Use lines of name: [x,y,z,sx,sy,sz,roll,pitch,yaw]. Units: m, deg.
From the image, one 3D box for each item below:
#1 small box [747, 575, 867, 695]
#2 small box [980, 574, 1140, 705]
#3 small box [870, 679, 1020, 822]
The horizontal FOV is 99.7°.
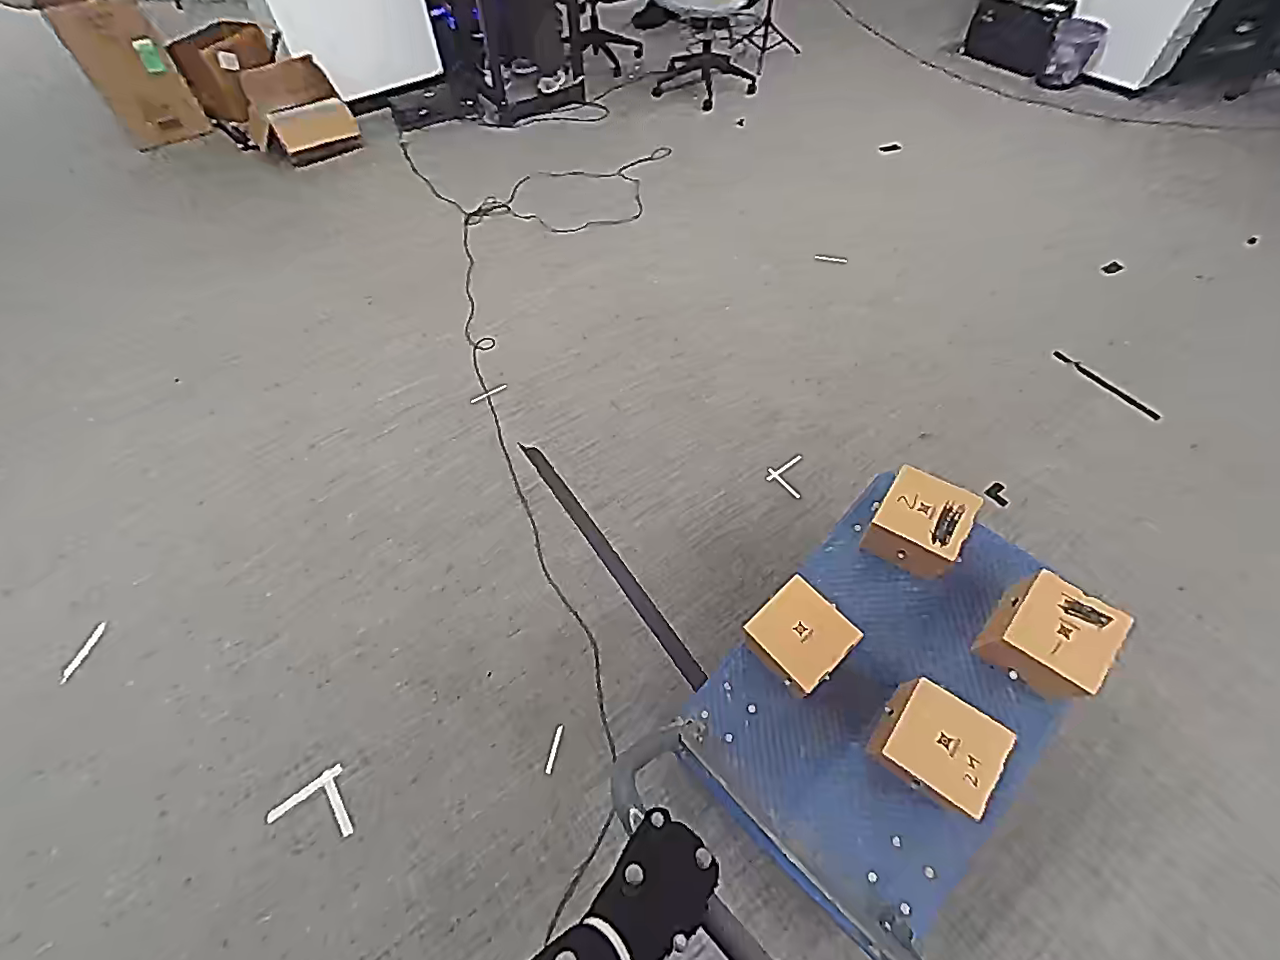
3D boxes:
small box: [0.345,0.339,1.160,0.168,0.176,0.179,-40,65,-10]
small box: [0.822,0.322,1.078,0.168,0.176,0.179,36,76,24]
small box: [0.567,0.512,1.033,0.179,0.176,0.168,33,74,23]
